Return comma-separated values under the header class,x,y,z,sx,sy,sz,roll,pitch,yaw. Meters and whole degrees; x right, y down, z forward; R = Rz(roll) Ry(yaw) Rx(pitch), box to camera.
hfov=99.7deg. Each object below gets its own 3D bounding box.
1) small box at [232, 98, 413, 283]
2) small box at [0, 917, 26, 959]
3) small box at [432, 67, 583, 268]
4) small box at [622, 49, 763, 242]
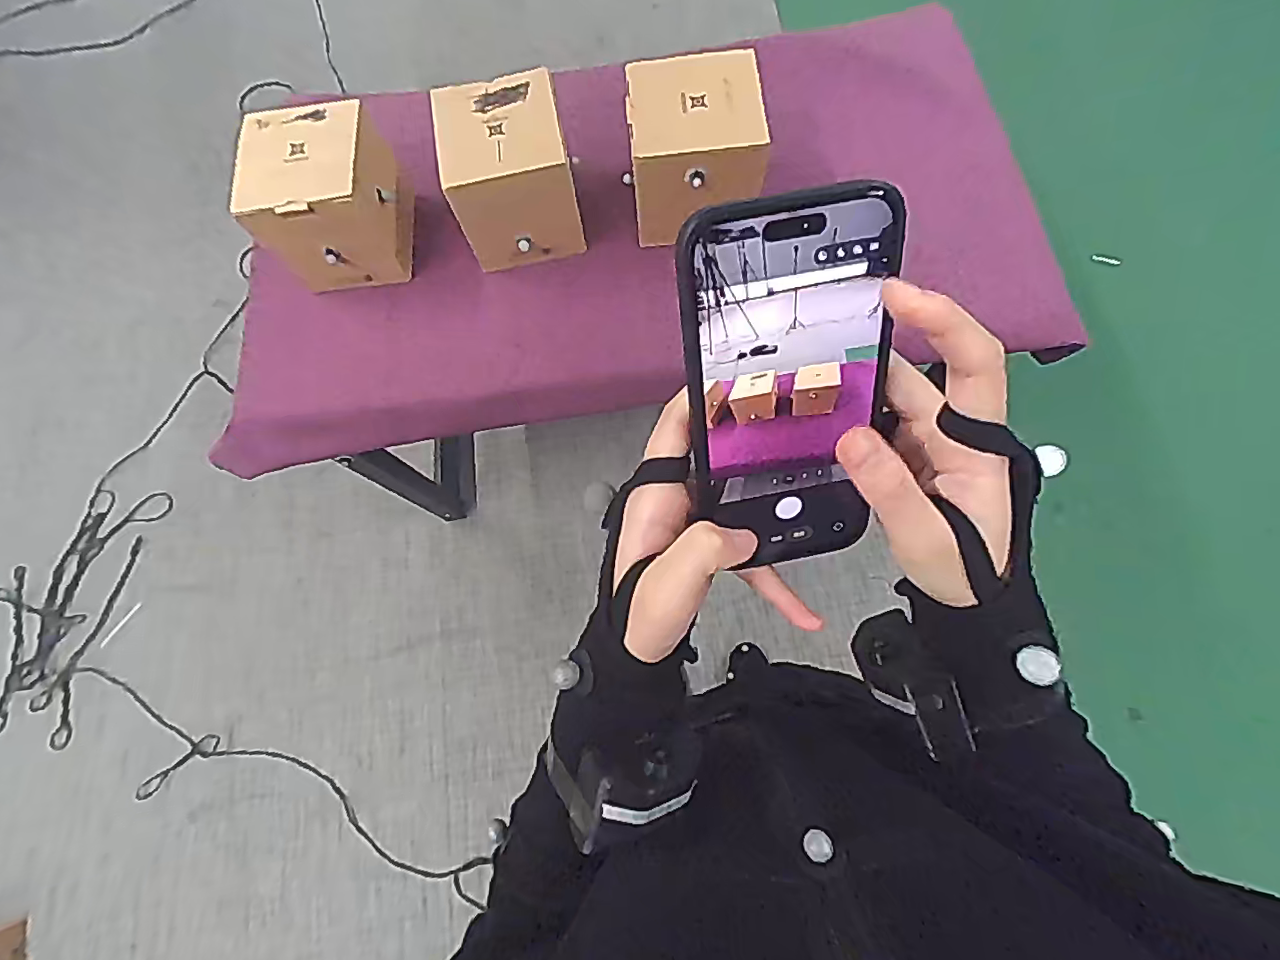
class,x,y,z,sx,sy,sz,roll,pitch,yaw
small box,-0.452,-0.411,0.799,0.168,0.176,0.179,-6,73,2
small box,-1.499,1.091,1.165,0.179,0.176,0.168,-16,73,-1
small box,-0.187,-0.446,0.791,0.168,0.176,0.179,-11,73,1
small box,0.072,-0.469,0.781,0.179,0.176,0.168,-4,73,3
